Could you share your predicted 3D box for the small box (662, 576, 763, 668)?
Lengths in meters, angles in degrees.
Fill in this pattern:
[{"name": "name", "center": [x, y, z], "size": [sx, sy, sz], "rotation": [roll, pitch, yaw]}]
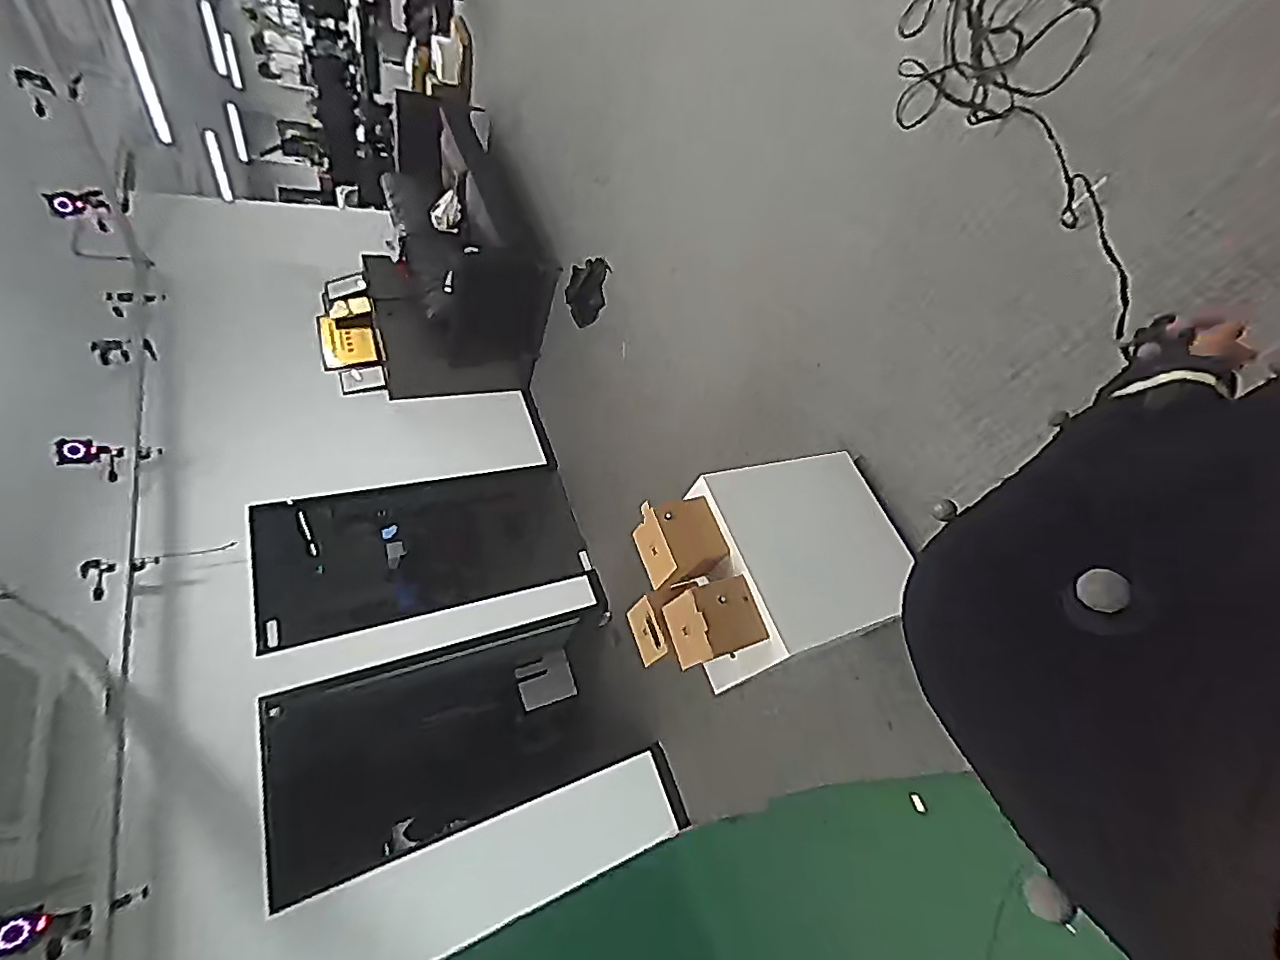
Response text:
[{"name": "small box", "center": [0.184, 0.352, 1.350], "size": [0.179, 0.176, 0.168], "rotation": [-55, 49, 55]}]
